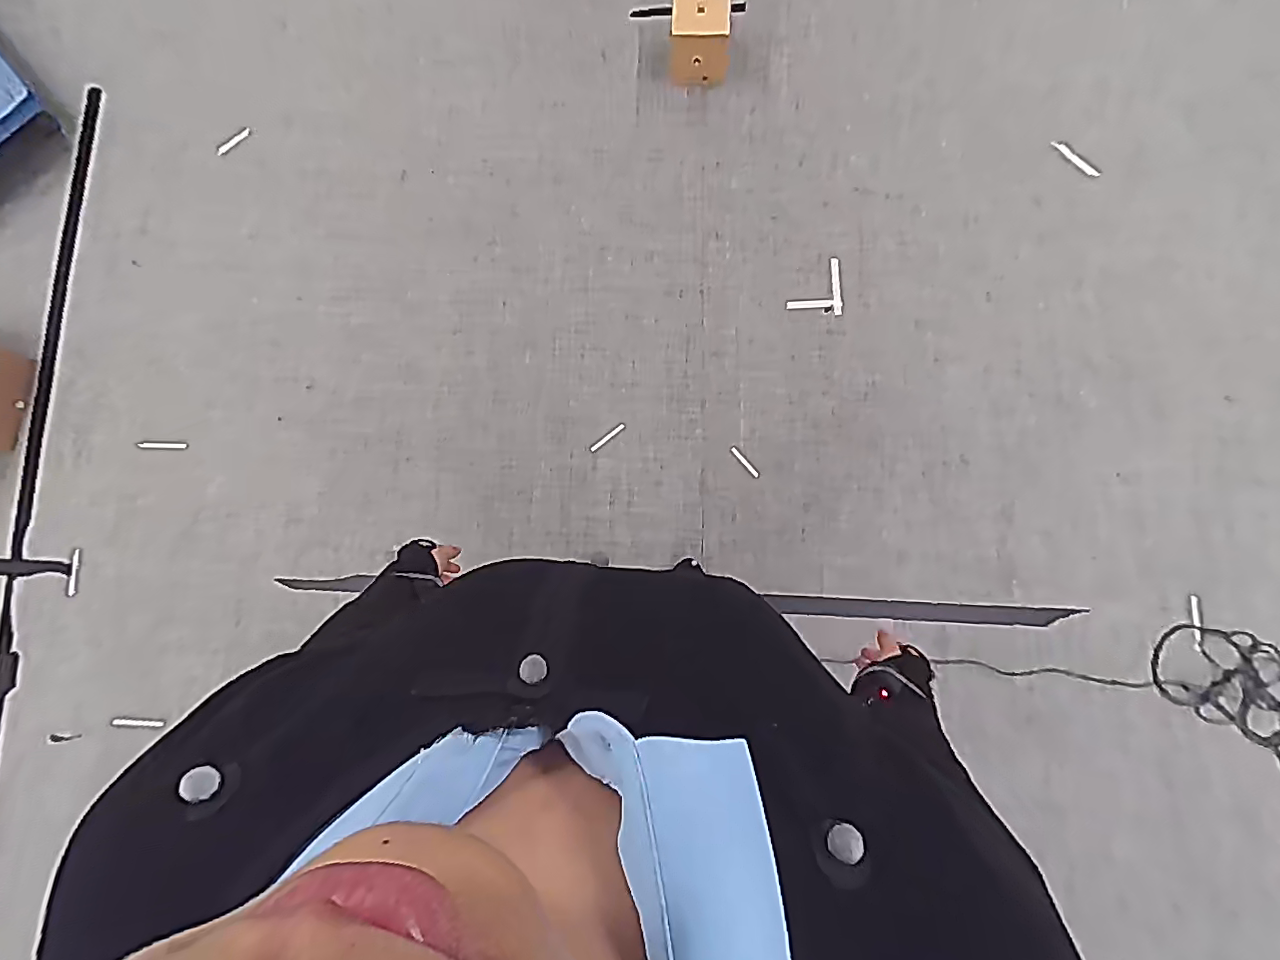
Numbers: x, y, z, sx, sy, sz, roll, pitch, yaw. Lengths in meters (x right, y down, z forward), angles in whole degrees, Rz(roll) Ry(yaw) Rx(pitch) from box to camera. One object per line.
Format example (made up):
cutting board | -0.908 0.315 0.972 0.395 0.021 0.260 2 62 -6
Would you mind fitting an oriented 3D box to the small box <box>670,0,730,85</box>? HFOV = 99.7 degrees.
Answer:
small box | 0.178 -1.323 1.614 0.168 0.176 0.179 3 82 4
